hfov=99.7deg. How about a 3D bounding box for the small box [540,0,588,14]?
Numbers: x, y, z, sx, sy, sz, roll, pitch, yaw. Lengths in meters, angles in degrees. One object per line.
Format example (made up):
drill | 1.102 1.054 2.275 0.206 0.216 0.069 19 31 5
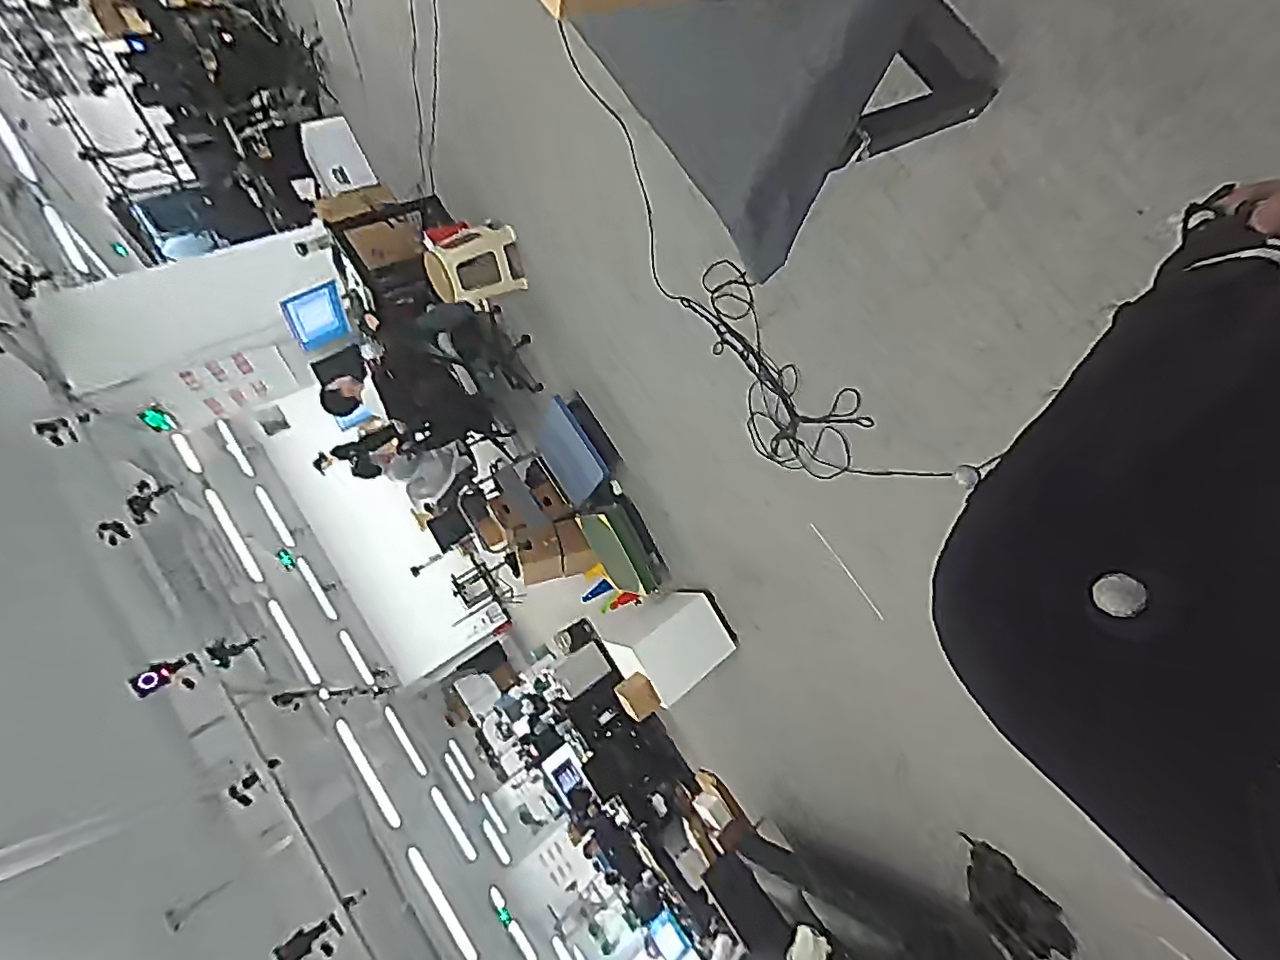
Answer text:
small box | -0.035 -0.525 0.429 0.179 0.176 0.168 53 156 9
